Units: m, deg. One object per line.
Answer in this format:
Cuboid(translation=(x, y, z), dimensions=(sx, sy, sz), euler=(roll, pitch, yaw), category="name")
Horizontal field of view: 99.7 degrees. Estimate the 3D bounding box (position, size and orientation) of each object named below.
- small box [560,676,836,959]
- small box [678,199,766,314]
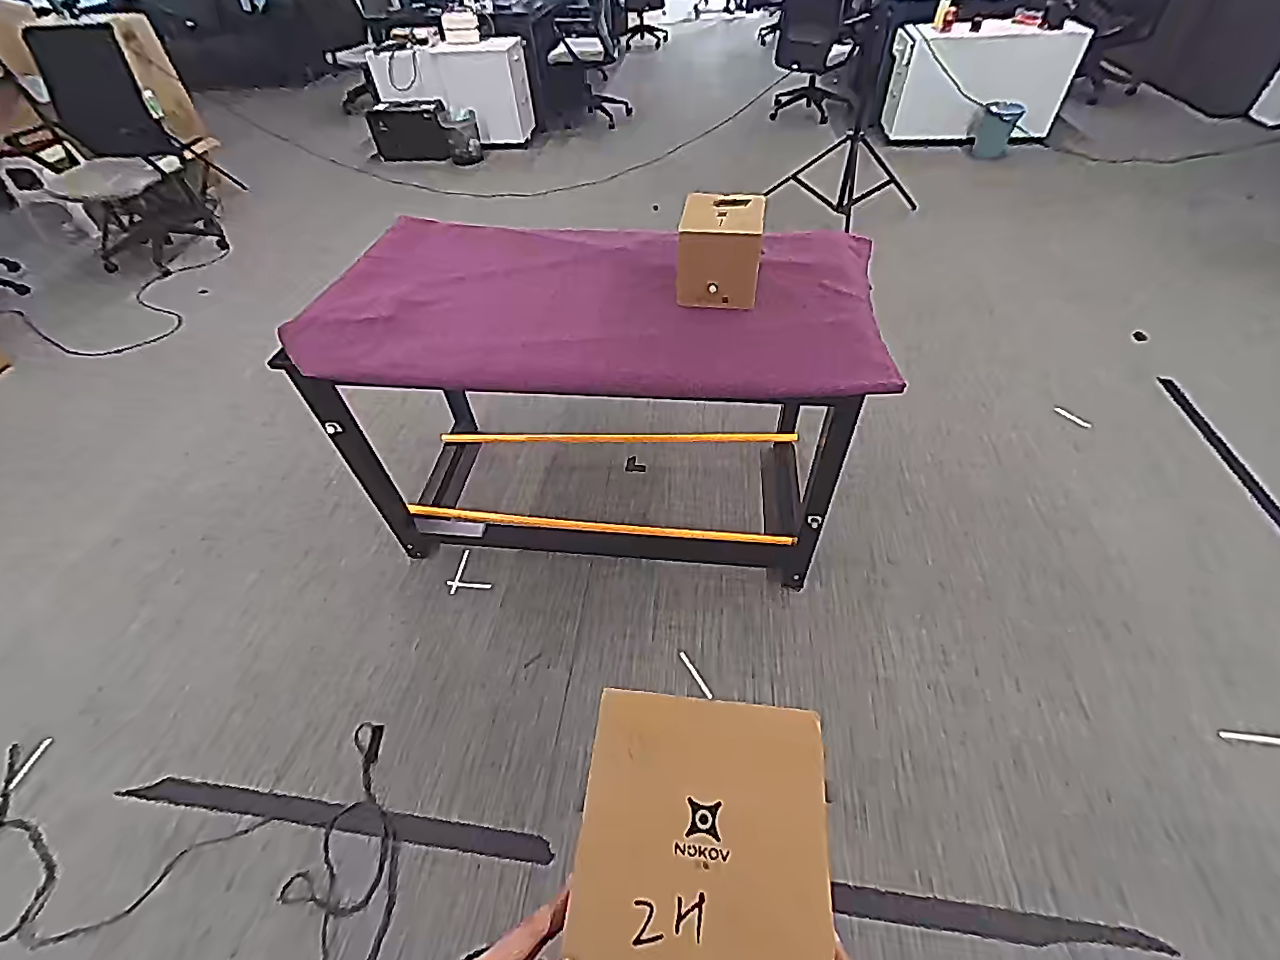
Cuboid(translation=(0.049, 0.276, 0.425), dimensions=(0.168, 0.176, 0.179), euler=(3, 54, 9), category="small box")
Cuboid(translation=(0.174, -0.483, 1.165), dimensions=(0.168, 0.176, 0.179), euler=(6, 50, 9), category="small box")
